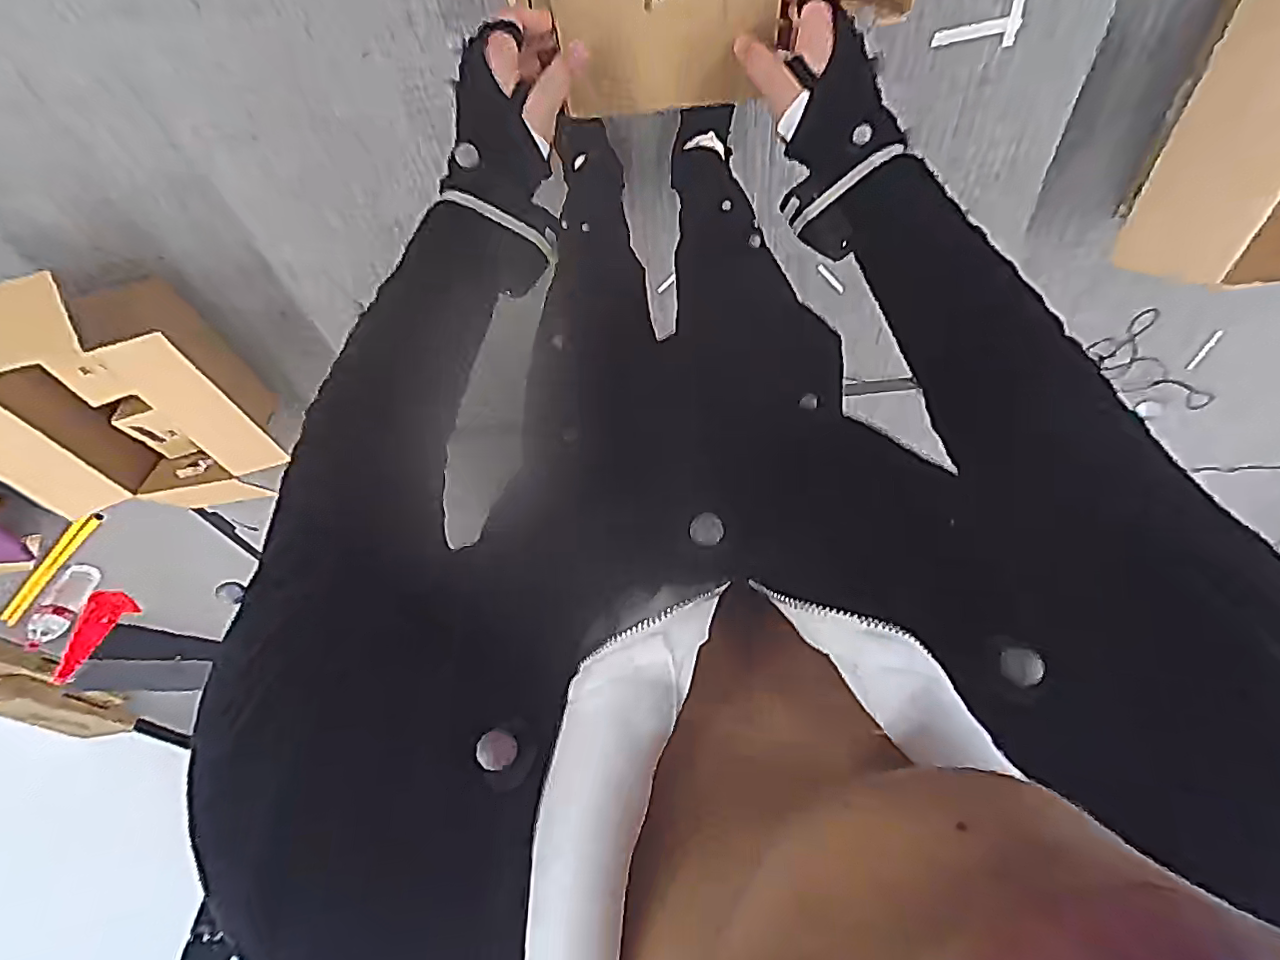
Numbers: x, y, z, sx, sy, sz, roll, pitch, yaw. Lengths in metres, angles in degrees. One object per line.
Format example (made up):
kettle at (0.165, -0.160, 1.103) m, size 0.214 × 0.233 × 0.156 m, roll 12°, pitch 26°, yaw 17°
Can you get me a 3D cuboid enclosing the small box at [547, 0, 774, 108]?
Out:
small box at (0.008, -0.435, 0.447) m, size 0.179 × 0.176 × 0.168 m, roll -8°, pitch 140°, yaw -1°
